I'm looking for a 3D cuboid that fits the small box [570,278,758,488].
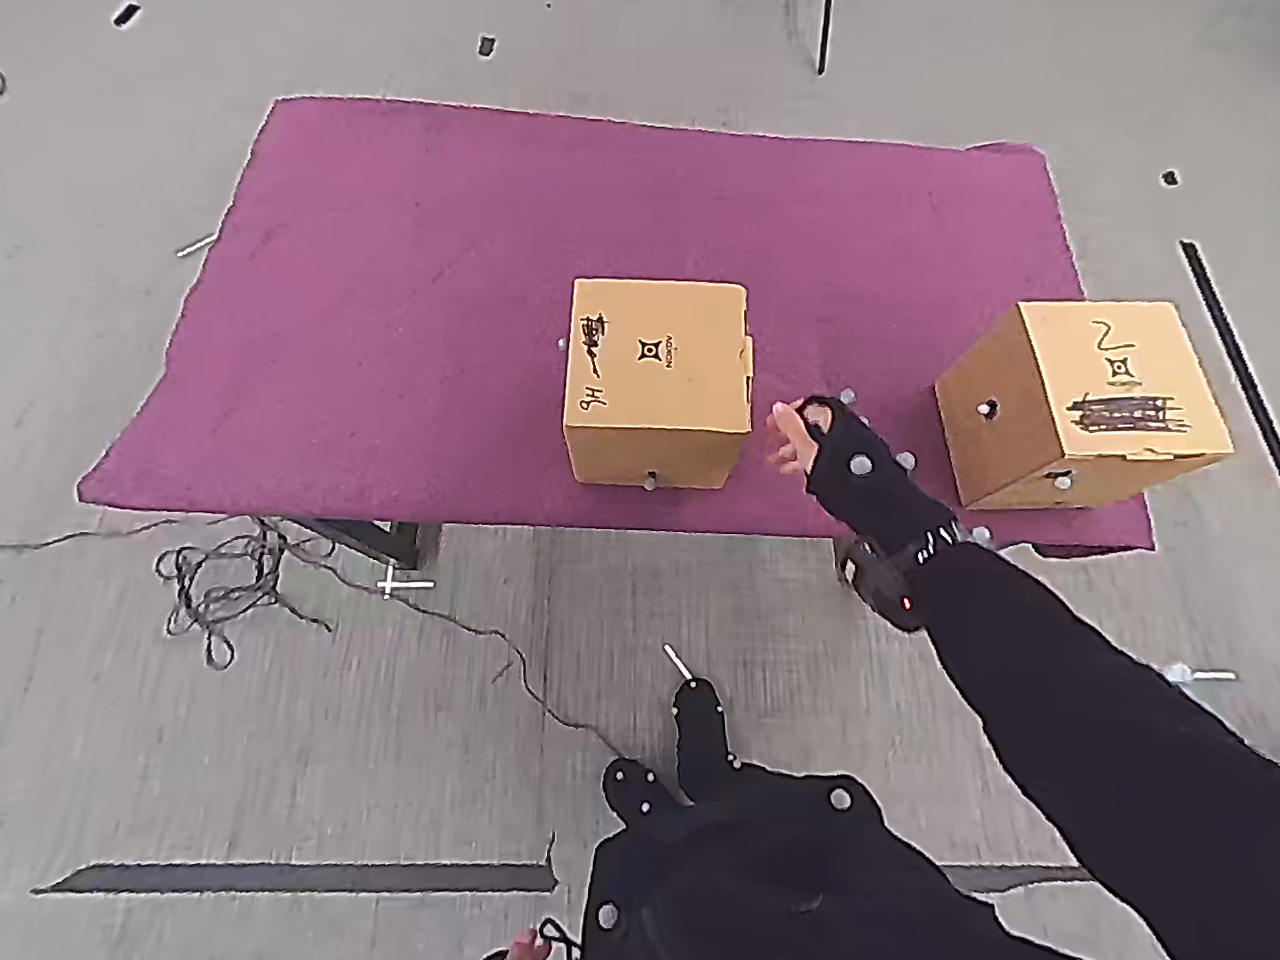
[{"bbox_3d":[0.022,-0.094,0.593,0.179,0.176,0.168,3,71,-2],"label":"small box"}]
